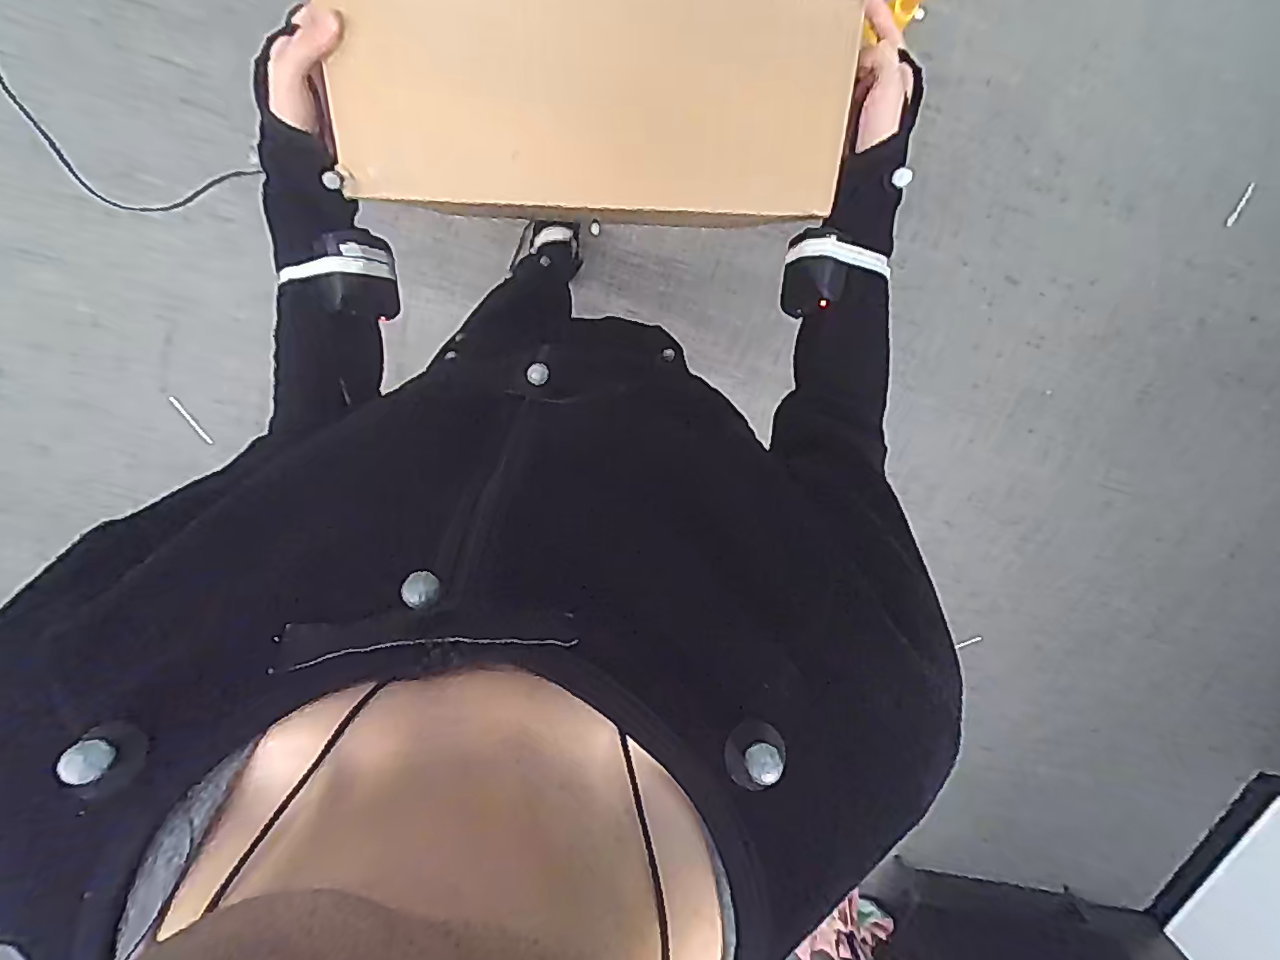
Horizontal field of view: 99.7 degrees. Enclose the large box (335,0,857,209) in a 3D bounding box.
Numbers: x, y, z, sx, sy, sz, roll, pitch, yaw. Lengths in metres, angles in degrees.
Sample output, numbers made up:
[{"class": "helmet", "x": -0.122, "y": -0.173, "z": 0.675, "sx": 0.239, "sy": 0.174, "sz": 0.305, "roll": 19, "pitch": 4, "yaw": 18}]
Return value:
[{"class": "large box", "x": -0.035, "y": -0.447, "z": 0.535, "sx": 0.408, "sy": 0.320, "sz": 0.320, "roll": 0, "pitch": 113, "yaw": -4}]
